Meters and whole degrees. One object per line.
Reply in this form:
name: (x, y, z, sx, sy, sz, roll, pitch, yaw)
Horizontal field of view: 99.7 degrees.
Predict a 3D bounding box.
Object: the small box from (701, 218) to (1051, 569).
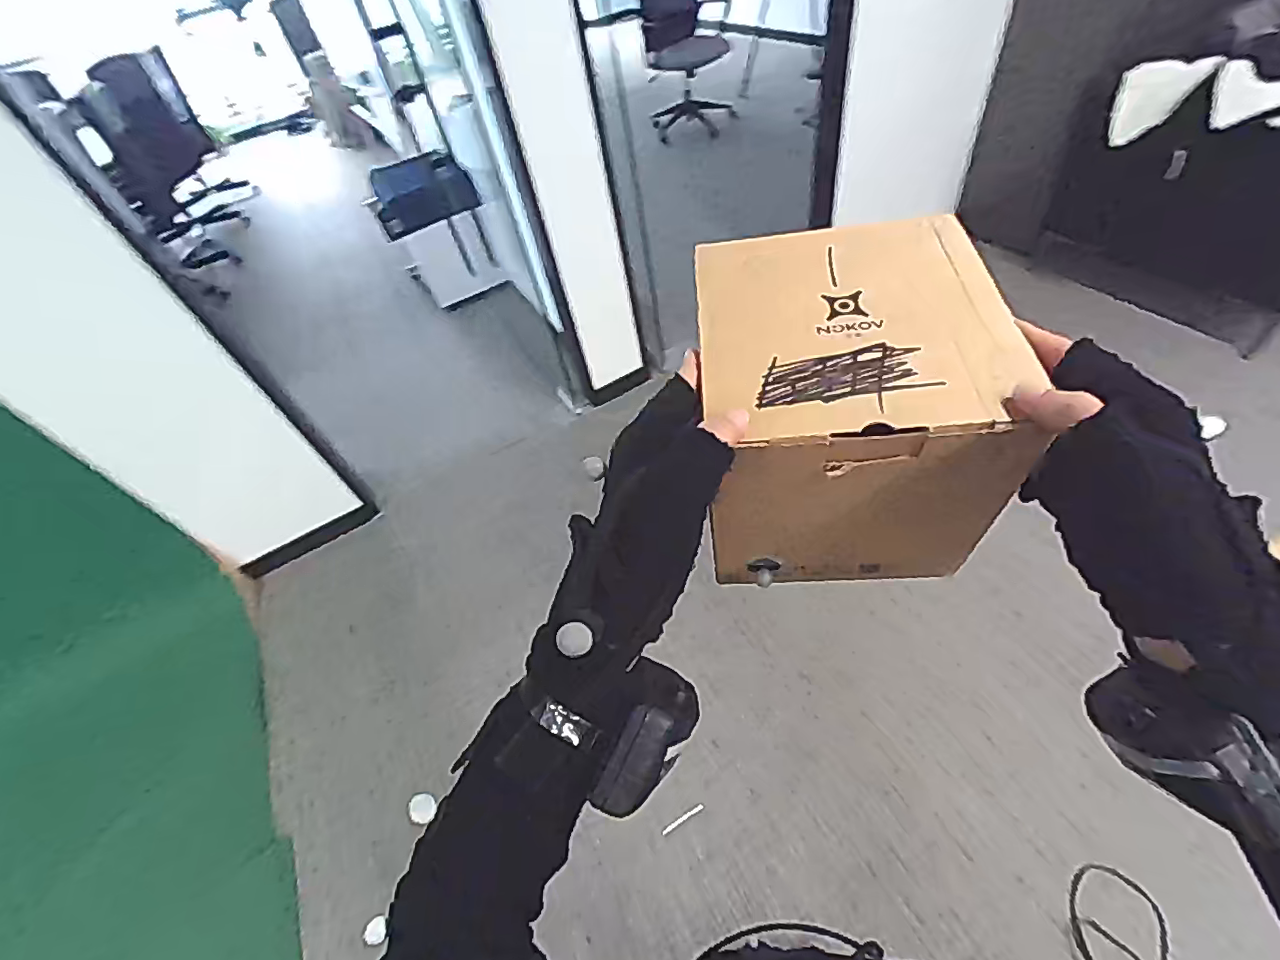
small box: (0.131, -0.047, 0.375, 0.168, 0.176, 0.179, -3, 54, 9)
